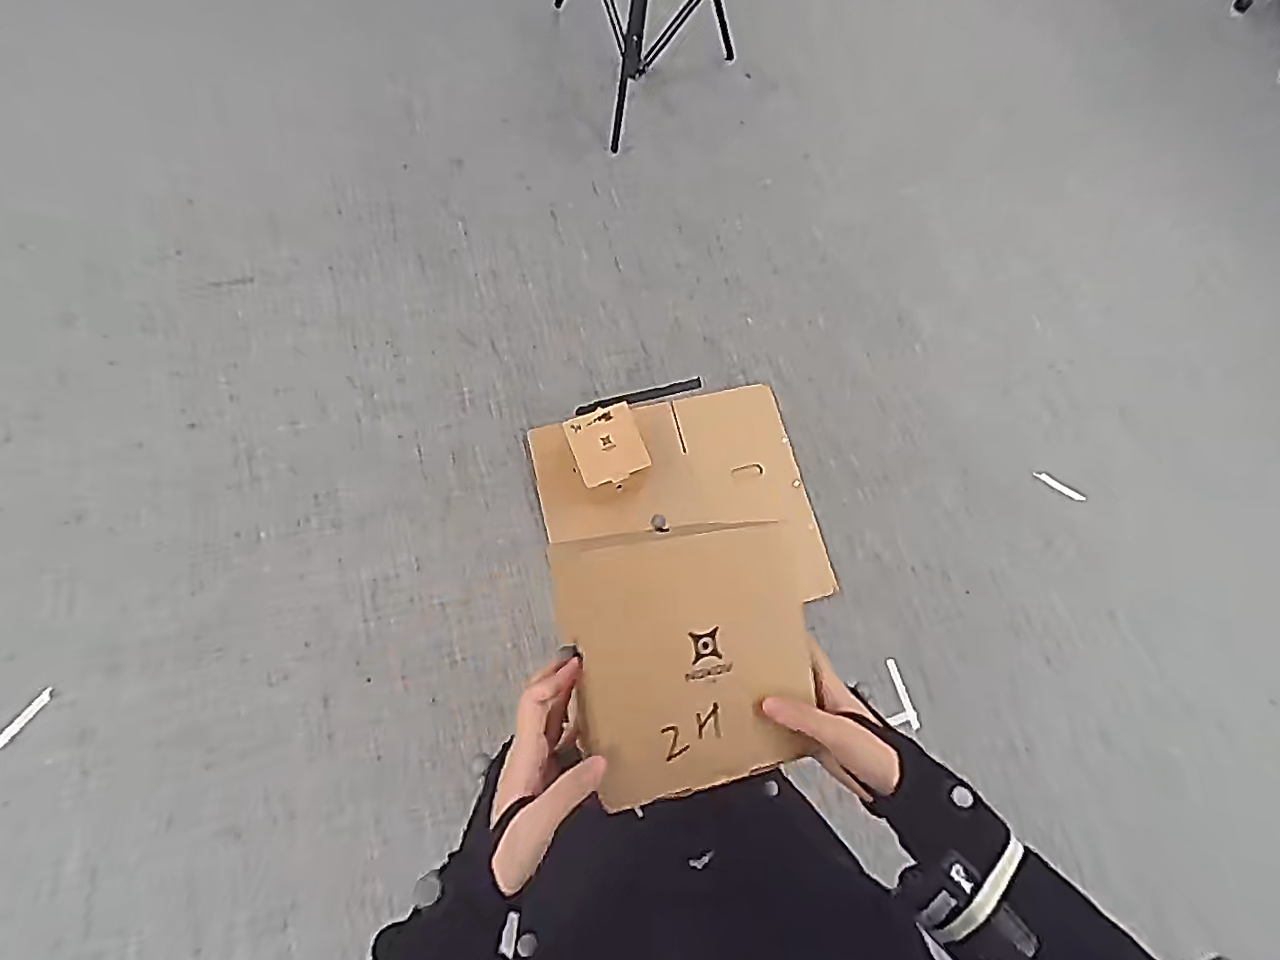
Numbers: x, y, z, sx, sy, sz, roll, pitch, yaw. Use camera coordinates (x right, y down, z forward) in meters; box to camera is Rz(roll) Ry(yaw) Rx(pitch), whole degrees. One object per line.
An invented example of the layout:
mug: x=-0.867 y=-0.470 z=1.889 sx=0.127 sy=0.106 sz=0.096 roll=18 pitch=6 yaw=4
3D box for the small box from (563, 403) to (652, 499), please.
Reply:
small box: x=-0.082 y=-0.061 z=1.336 sx=0.168 sy=0.176 sz=0.179 roll=-20 pitch=79 yaw=-11

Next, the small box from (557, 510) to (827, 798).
small box: x=0.028 y=0.124 z=0.456 sx=0.168 sy=0.176 sz=0.179 roll=-6 pitch=86 yaw=-16
